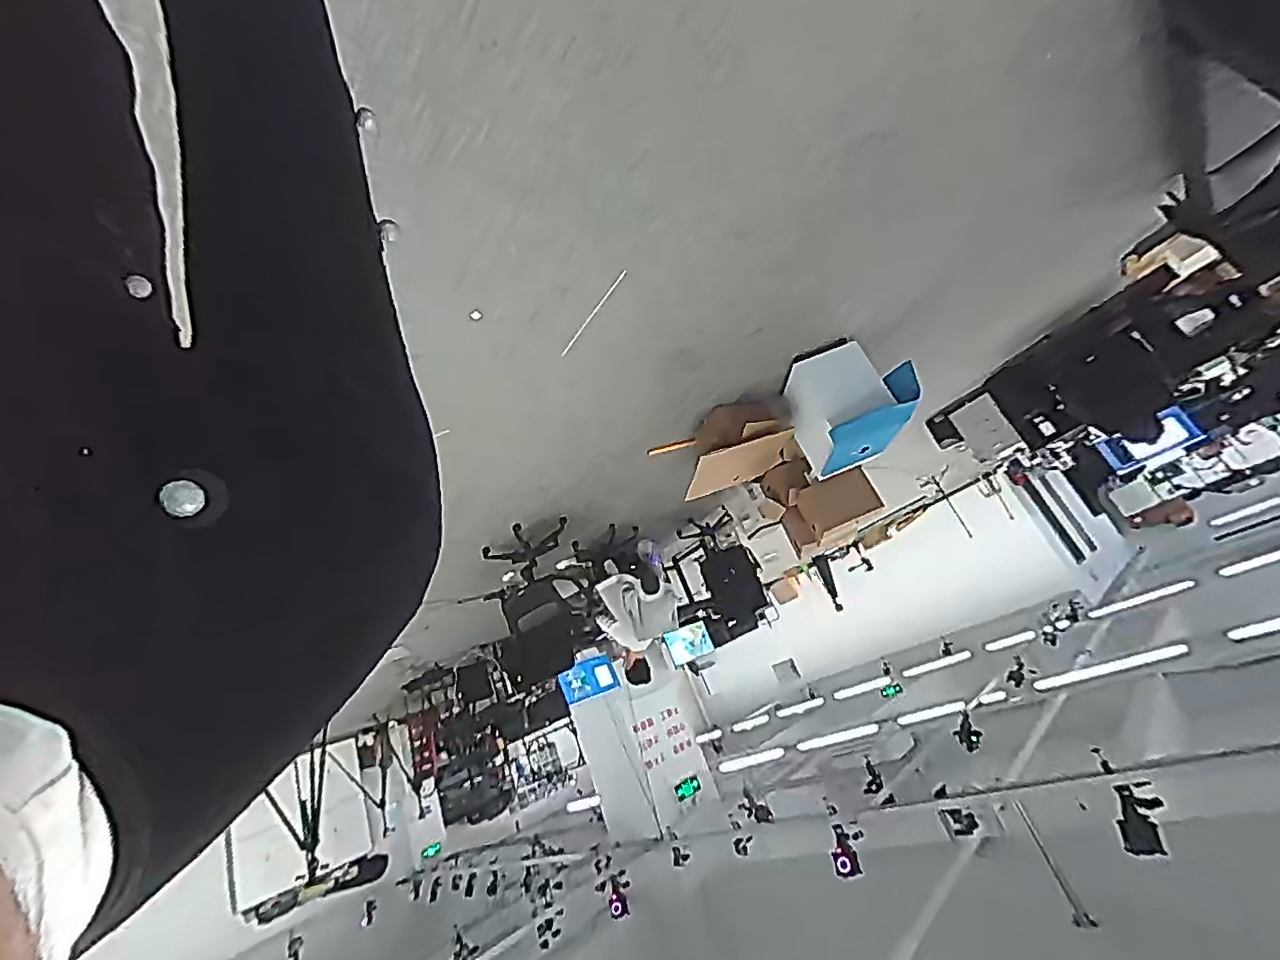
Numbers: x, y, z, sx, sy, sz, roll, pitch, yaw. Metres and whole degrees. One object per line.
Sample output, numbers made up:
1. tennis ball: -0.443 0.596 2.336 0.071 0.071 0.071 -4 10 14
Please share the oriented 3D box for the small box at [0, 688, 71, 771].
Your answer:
1. small box: -1.792 0.726 1.579 0.168 0.176 0.179 -2 152 -43
